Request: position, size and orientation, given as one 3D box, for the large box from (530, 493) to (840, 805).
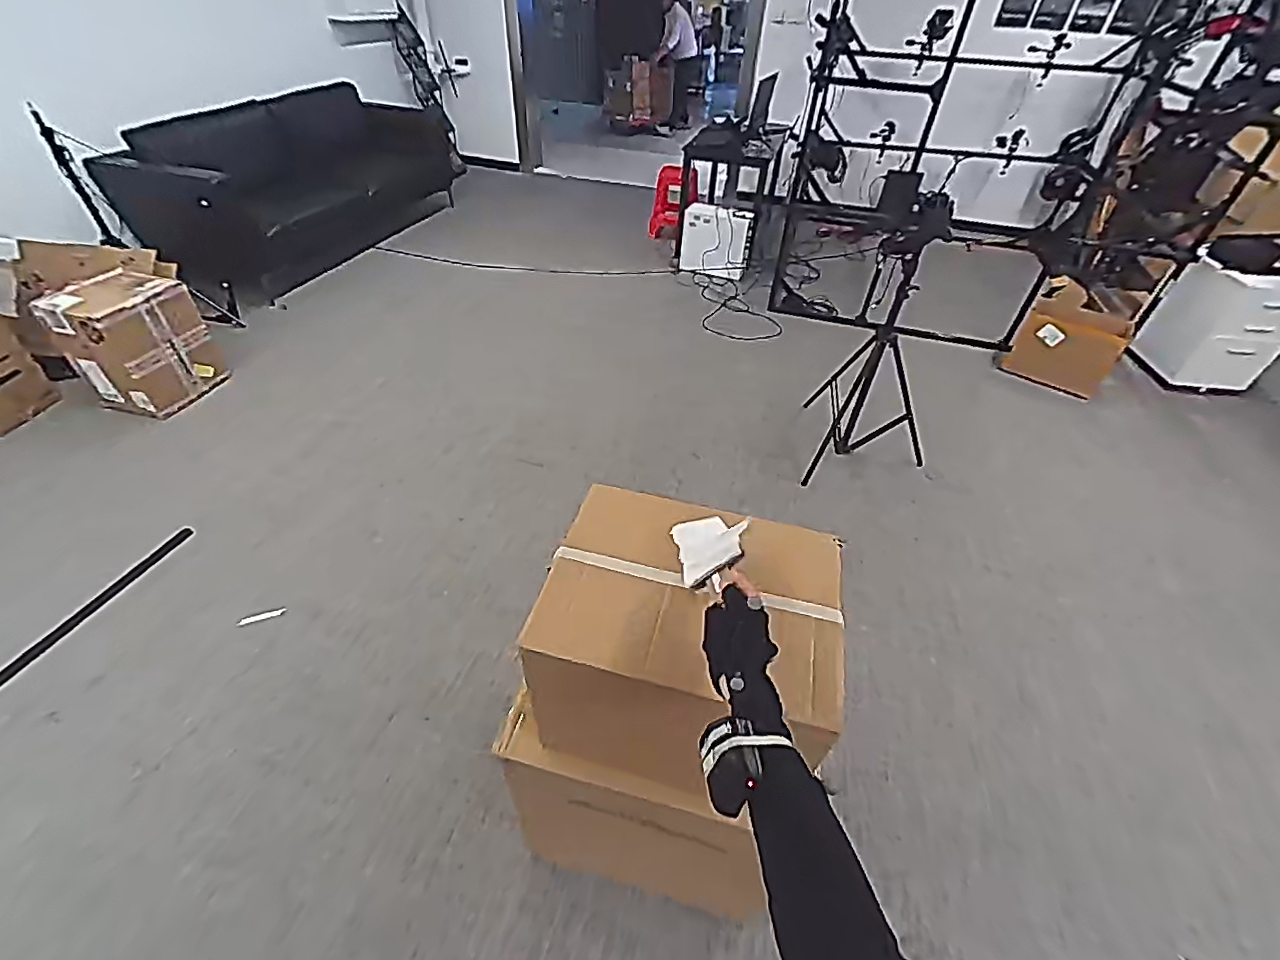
[{"bbox_3d":[0.072,0.266,0.879,0.408,0.320,0.320,12,44,8],"label":"large box"}]
